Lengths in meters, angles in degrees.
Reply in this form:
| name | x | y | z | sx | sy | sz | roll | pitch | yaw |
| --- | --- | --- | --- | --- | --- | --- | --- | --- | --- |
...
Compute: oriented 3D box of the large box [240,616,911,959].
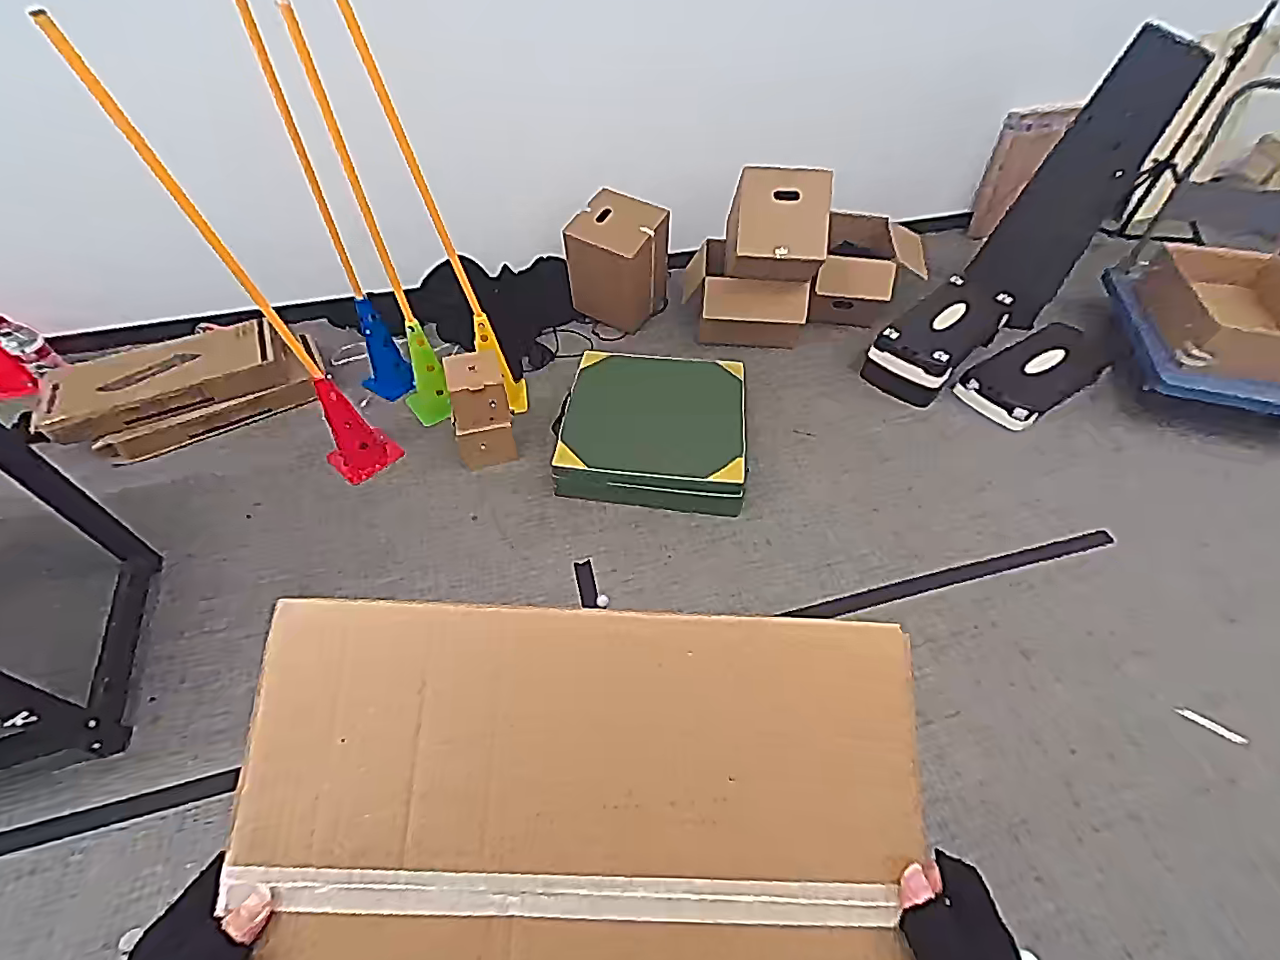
| name | x | y | z | sx | sy | sz | roll | pitch | yaw |
| --- | --- | --- | --- | --- | --- | --- | --- | --- | --- |
| large box | -0.037 | 0.287 | 0.471 | 0.408 | 0.320 | 0.320 | 2 | 79 | -2 |
